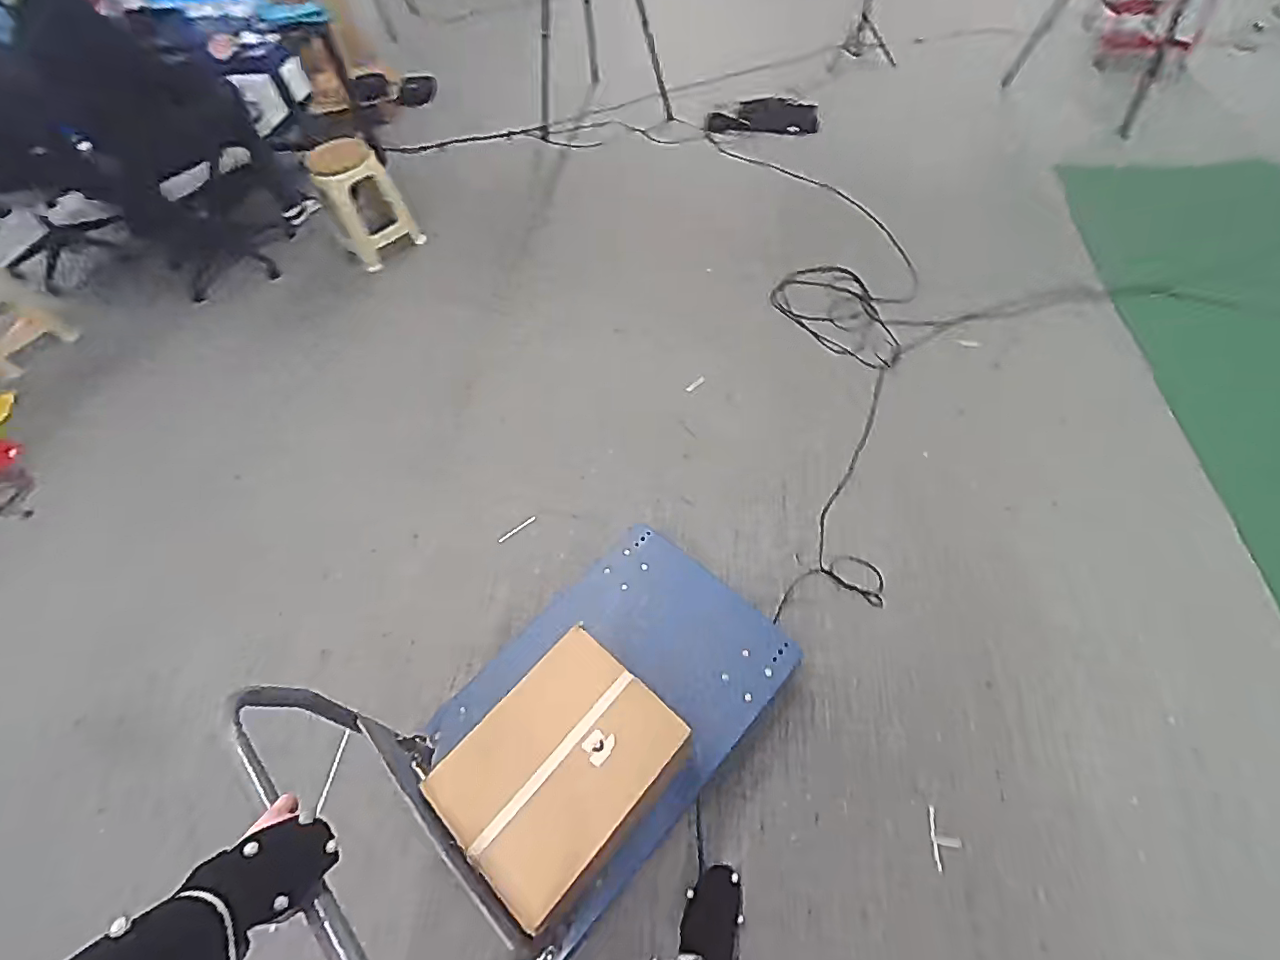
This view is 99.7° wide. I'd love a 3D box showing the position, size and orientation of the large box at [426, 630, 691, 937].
[{"bbox_3d":[-0.138,0.600,1.103,0.320,0.320,0.408,36,64,25],"label":"large box"}]
